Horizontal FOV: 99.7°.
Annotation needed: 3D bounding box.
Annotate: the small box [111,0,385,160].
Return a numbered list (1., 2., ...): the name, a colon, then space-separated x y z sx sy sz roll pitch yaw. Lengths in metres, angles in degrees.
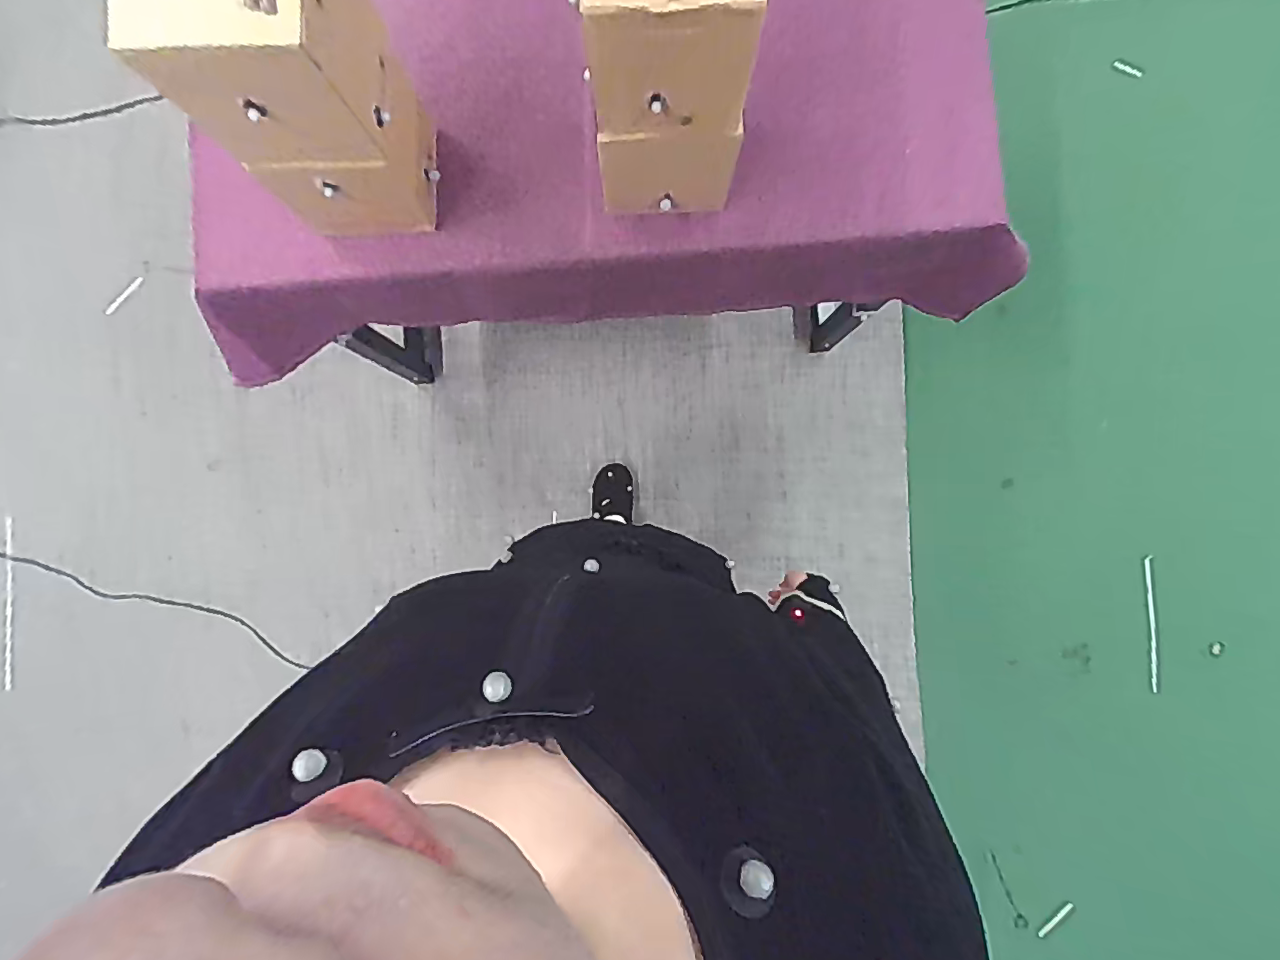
1. small box: -0.384 -0.461 0.561 0.179 0.176 0.168 -2 88 0

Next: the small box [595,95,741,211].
1. small box: 0.031 -0.485 0.727 0.179 0.176 0.168 -2 87 -1

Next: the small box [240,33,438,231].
1. small box: -0.389 -0.452 0.725 0.179 0.176 0.168 -1 88 -1

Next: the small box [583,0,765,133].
1. small box: 0.028 -0.502 0.564 0.168 0.176 0.179 -2 89 0
